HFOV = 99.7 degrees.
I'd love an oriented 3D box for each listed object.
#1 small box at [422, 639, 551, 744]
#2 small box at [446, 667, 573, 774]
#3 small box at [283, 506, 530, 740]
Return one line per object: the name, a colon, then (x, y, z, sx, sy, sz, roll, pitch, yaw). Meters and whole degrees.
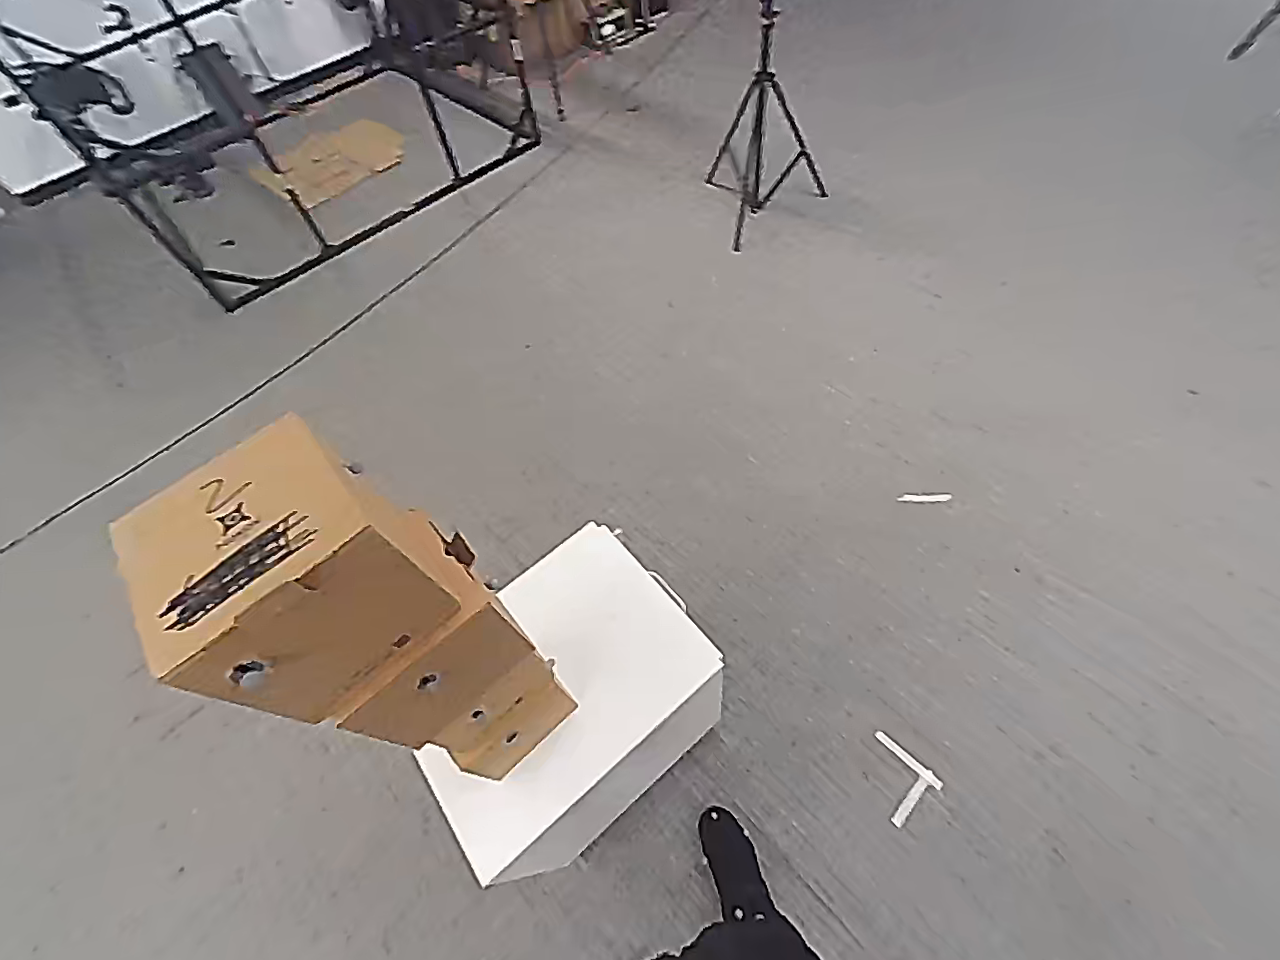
small box: (-0.251, 0.251, 0.772, 0.168, 0.176, 0.179, -38, 60, -17)
small box: (-0.234, 0.355, 0.896, 0.179, 0.176, 0.168, -39, 61, -18)
small box: (-0.256, 0.171, 0.627, 0.179, 0.176, 0.168, -38, 60, -17)
